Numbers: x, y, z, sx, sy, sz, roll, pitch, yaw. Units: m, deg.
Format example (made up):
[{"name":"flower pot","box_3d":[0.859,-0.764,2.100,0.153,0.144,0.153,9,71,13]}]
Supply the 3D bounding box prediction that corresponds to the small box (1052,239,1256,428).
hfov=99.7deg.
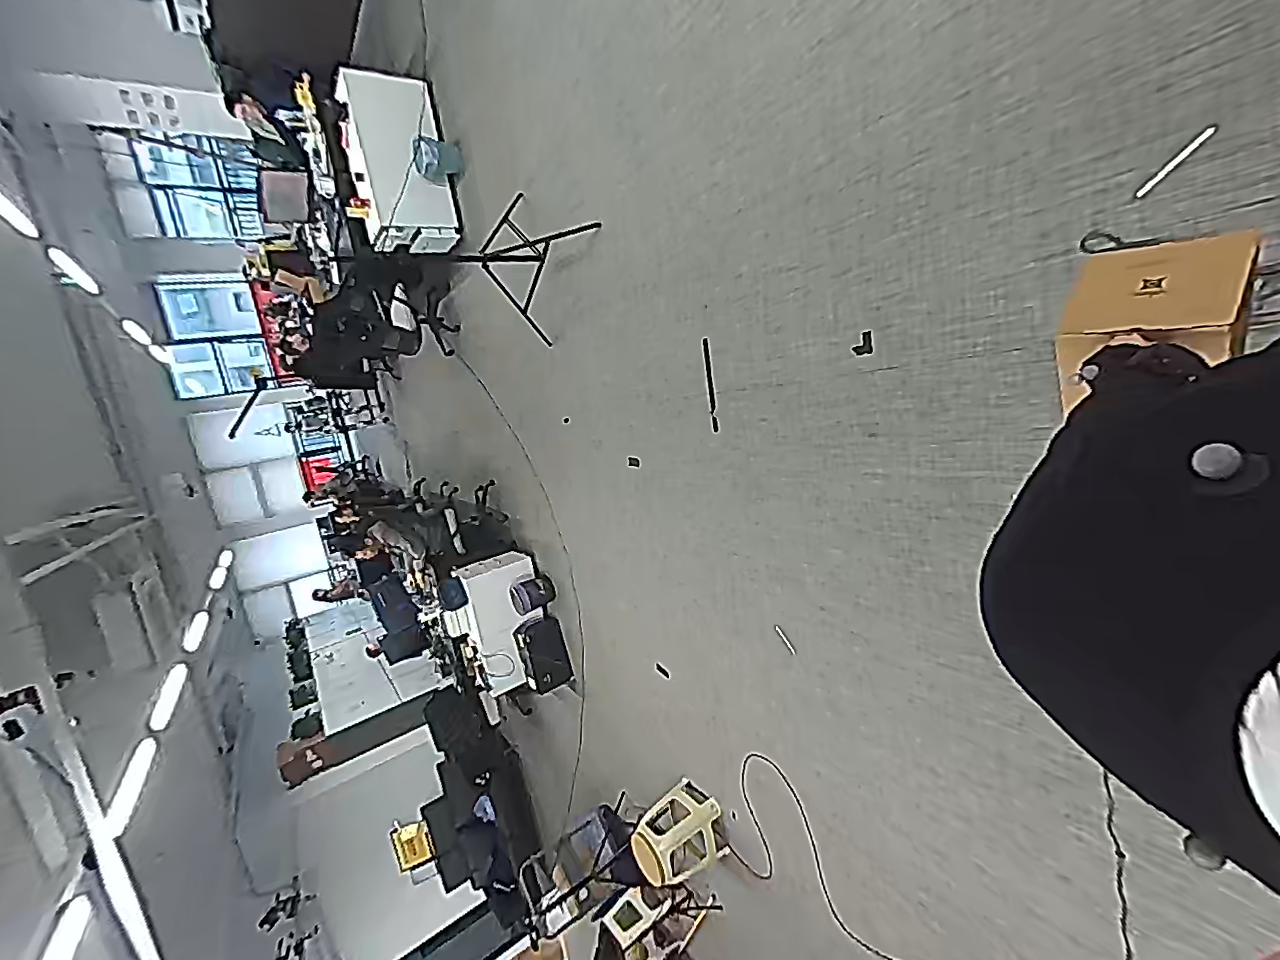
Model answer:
[{"name":"small box","box_3d":[0.692,-0.189,0.735,0.168,0.179,0.176,13,149,49]}]
